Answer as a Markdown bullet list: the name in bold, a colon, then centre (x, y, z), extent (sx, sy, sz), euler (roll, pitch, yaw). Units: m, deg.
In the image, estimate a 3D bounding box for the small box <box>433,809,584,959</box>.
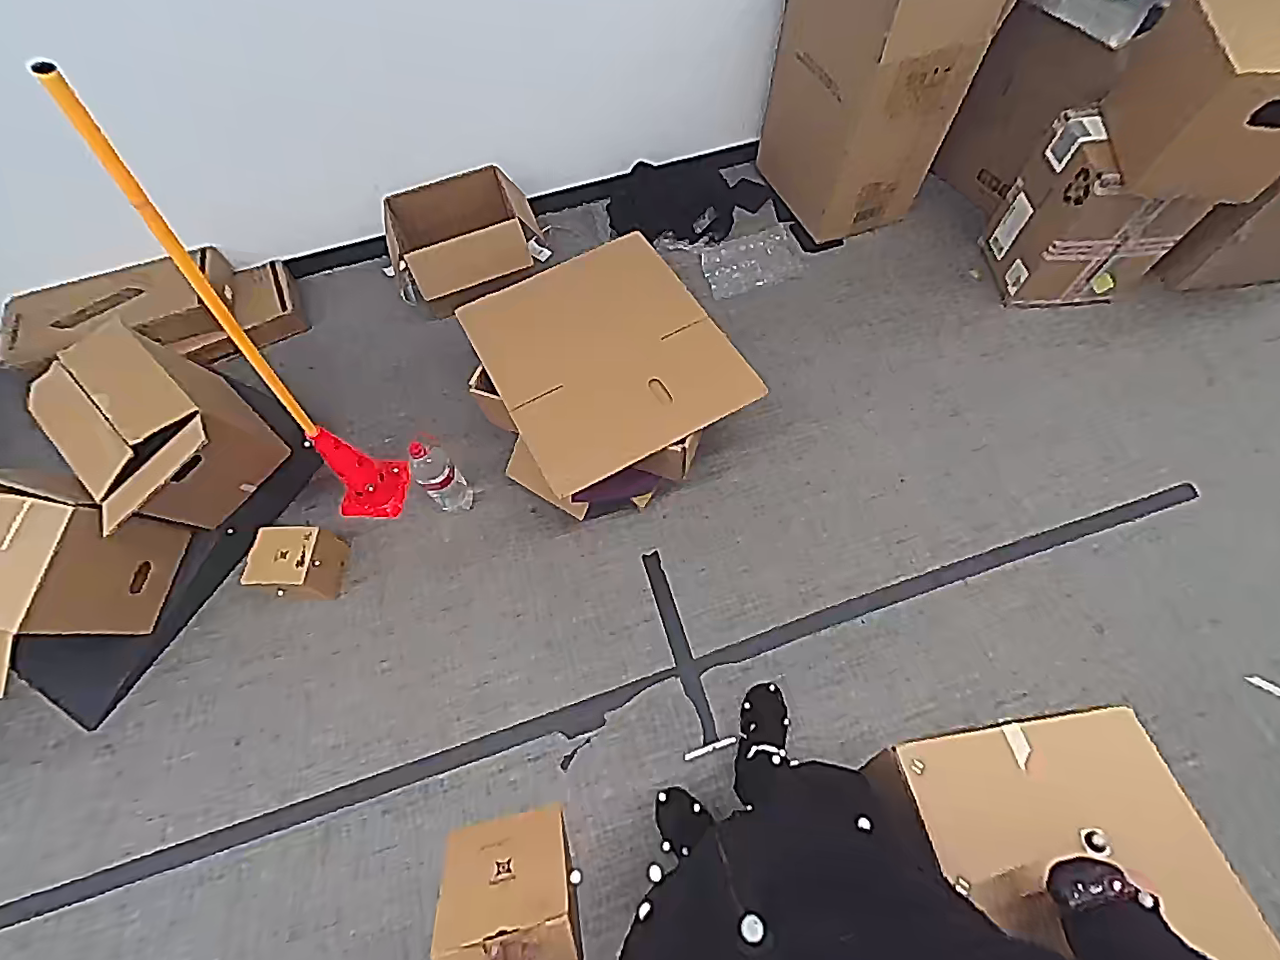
- **small box**: centre (-0.172, 0.611, 0.749), extent (0.168, 0.179, 0.176), euler (-9, 104, -9)
